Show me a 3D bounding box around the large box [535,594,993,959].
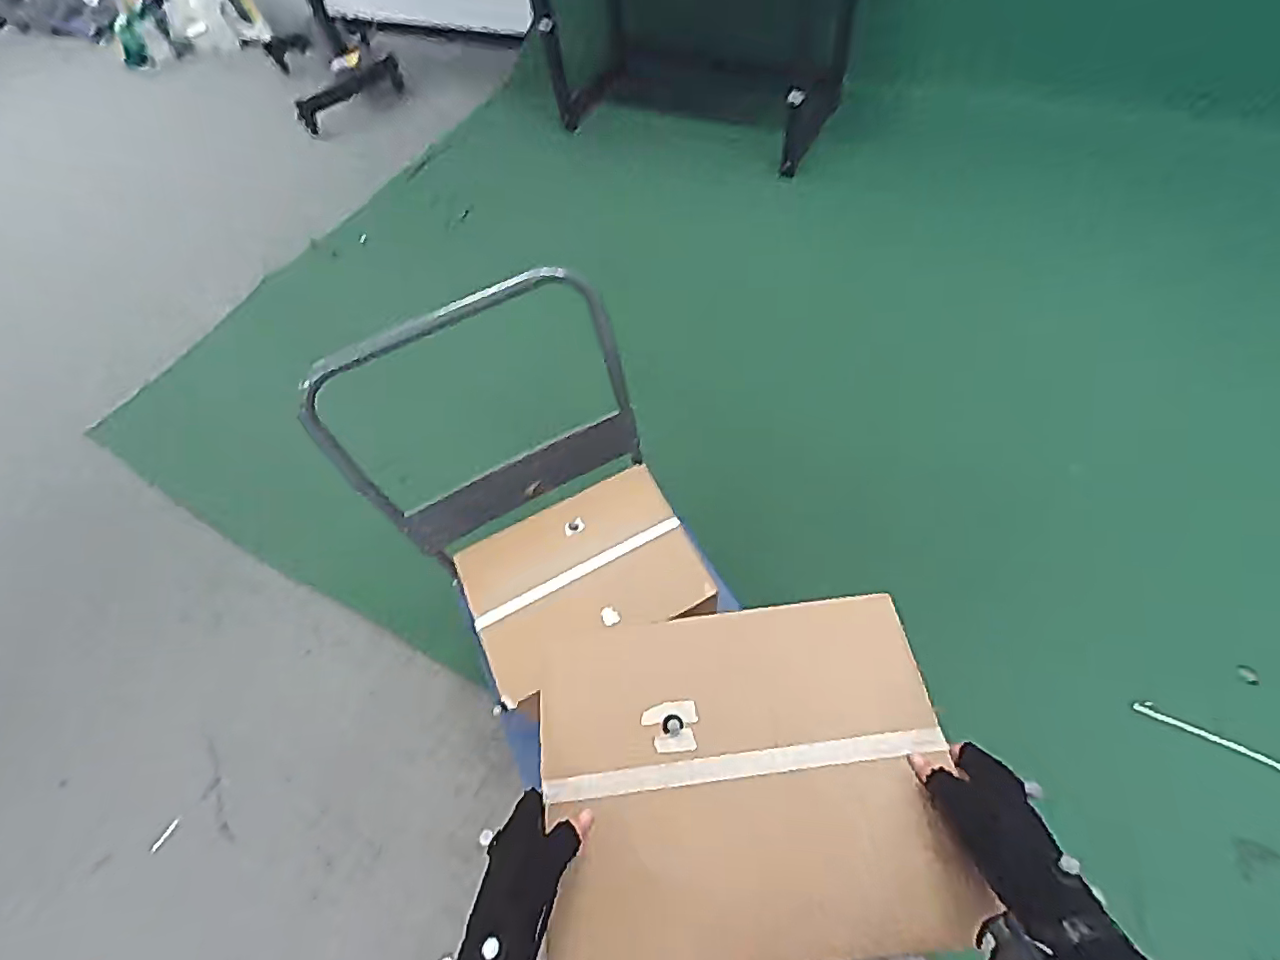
[{"bbox_3d":[0.106,0.358,0.666,0.408,0.320,0.320,-7,59,1],"label":"large box"}]
